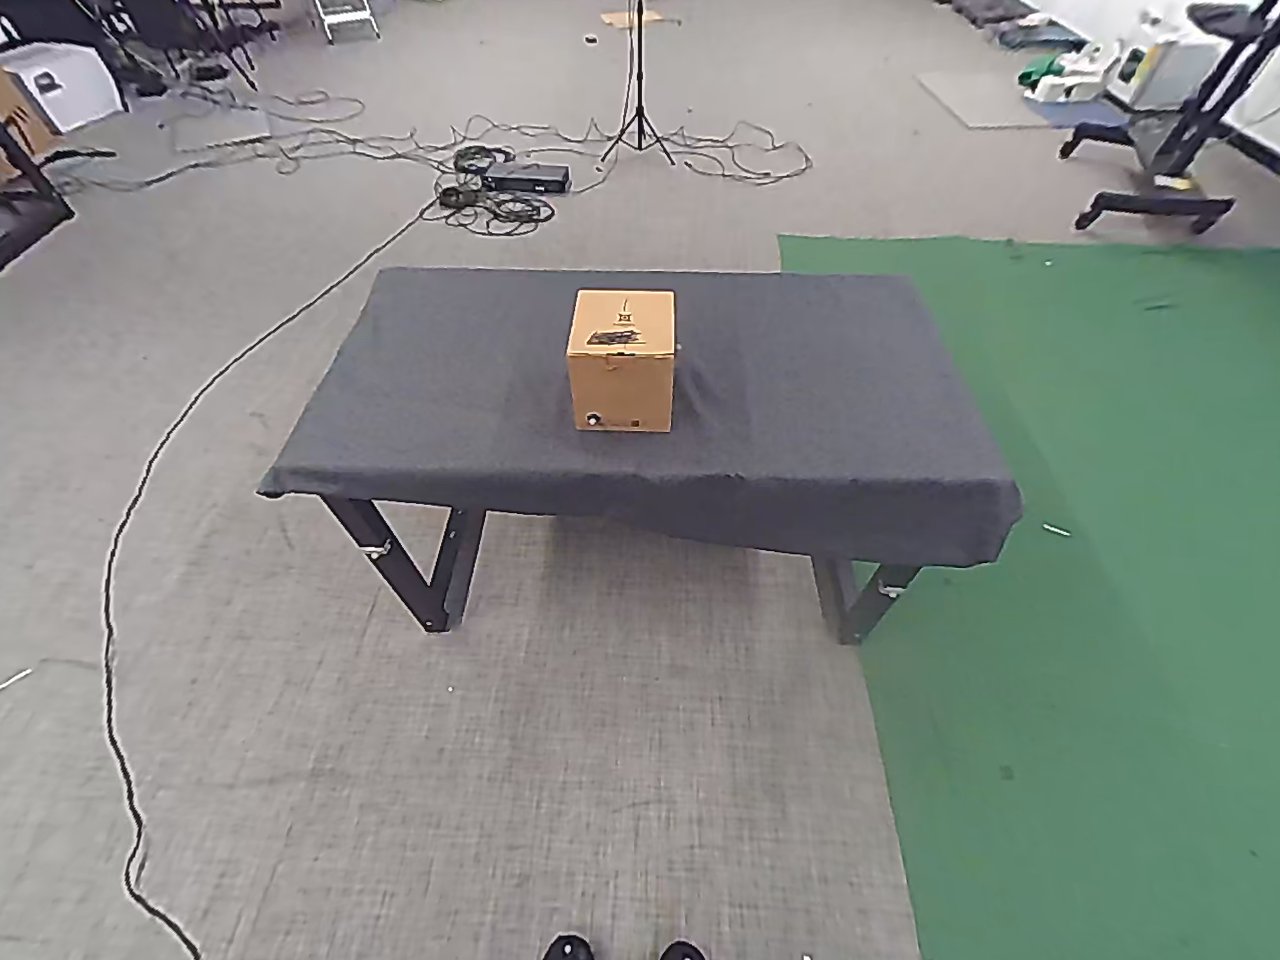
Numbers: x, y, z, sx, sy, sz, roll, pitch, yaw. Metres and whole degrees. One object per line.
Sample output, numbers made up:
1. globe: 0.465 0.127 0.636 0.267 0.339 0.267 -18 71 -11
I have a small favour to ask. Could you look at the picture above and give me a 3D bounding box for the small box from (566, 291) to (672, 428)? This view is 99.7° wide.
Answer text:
1. small box: -0.030 -0.206 0.941 0.168 0.176 0.179 2 51 1
